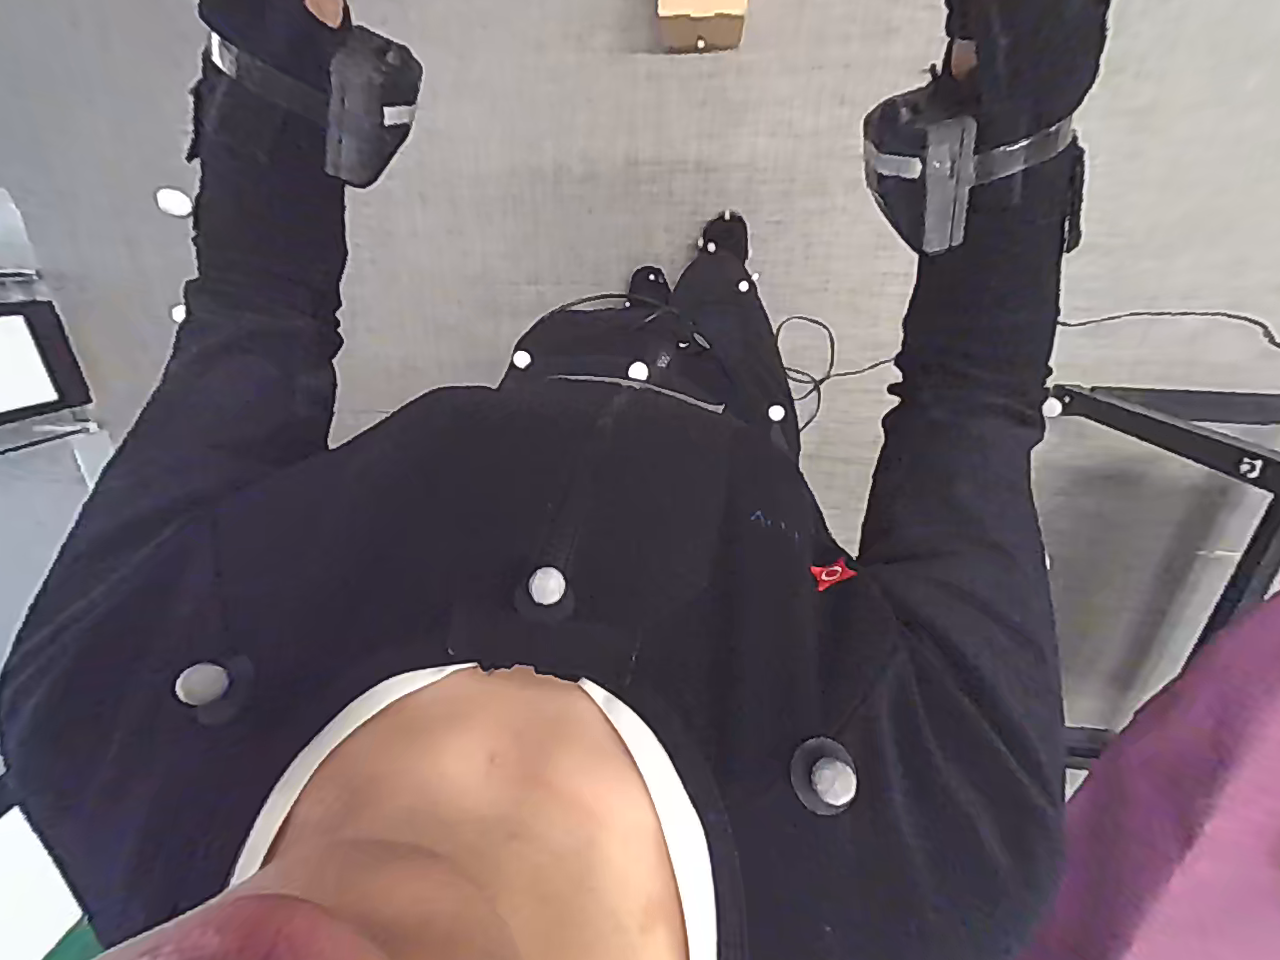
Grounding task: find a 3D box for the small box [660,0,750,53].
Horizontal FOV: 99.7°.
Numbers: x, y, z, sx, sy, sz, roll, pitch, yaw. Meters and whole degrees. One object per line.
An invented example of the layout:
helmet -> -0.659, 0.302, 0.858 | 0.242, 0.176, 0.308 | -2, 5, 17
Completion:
small box -> 0.126, -0.955, 1.033 | 0.168, 0.176, 0.179 | 2, 112, 5
